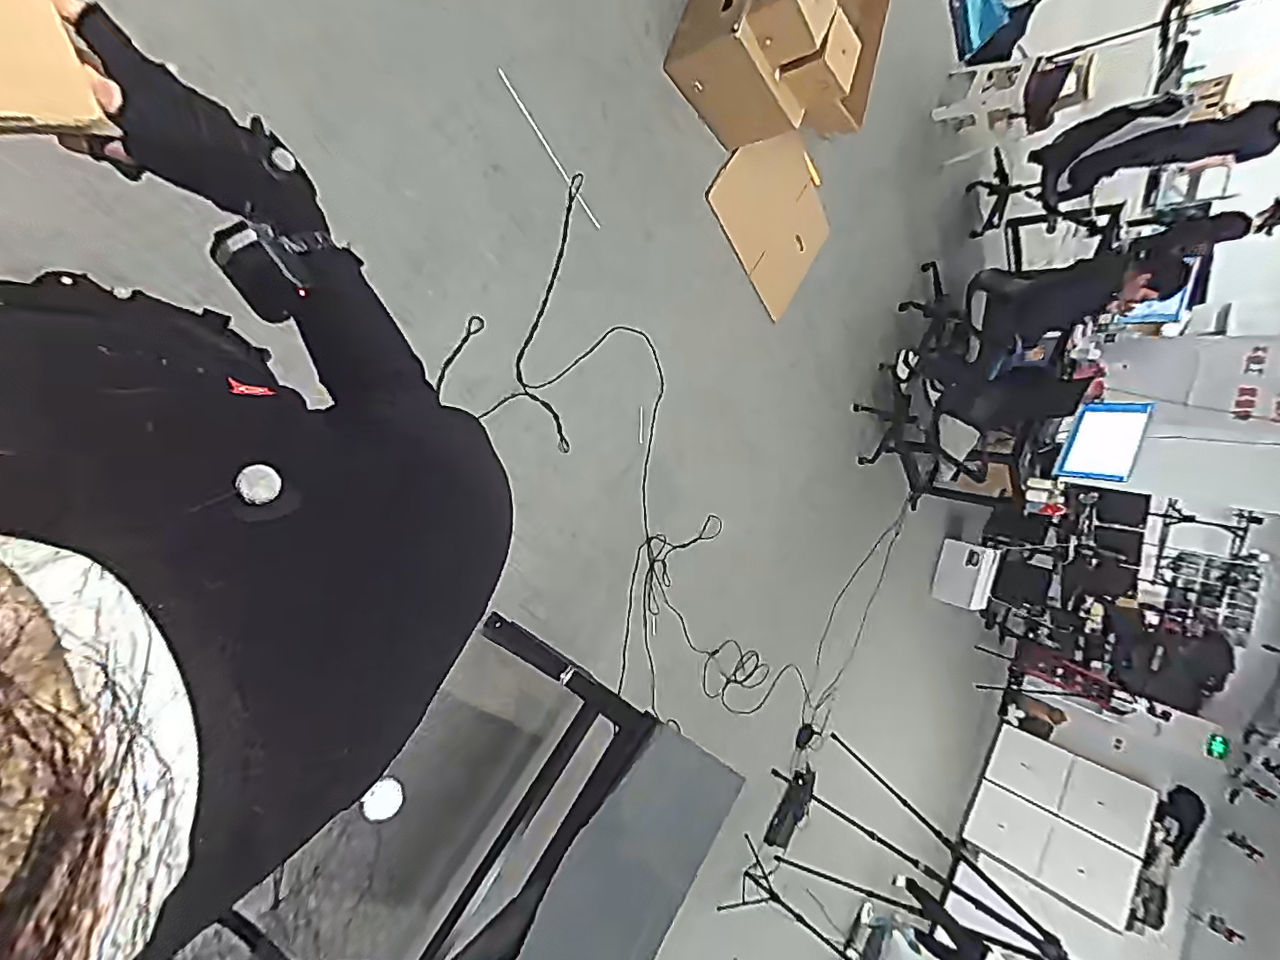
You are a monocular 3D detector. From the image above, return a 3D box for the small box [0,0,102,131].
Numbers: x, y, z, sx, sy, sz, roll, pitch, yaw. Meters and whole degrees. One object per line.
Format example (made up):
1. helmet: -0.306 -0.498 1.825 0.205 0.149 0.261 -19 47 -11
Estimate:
1. small box: -0.425 -0.278 0.265 0.168 0.176 0.179 -30 133 -37
